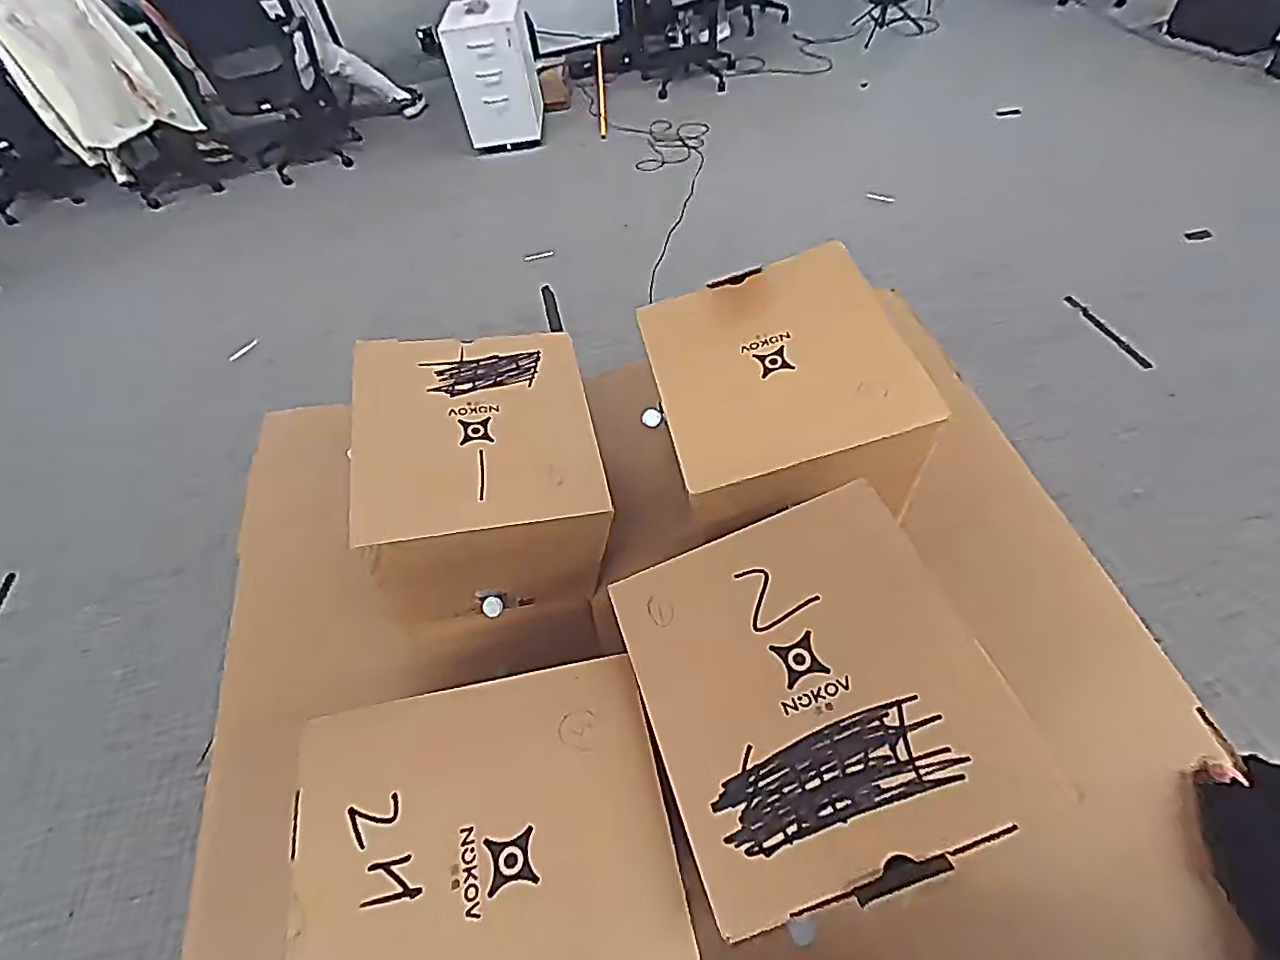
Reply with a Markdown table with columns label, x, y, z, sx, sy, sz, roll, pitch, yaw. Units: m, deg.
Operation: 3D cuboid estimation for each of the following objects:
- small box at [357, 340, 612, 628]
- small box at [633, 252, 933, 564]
| label | x | y | z | sx | sy | sz | roll | pitch | yaw |
| --- | --- | --- | --- | --- | --- | --- | --- | --- | --- |
| small box | -0.128 | 0.005 | 0.462 | 0.168 | 0.176 | 0.179 | -7 | 59 | -14 |
| small box | 0.107 | -0.044 | 0.449 | 0.168 | 0.176 | 0.179 | -17 | 58 | 5 |
